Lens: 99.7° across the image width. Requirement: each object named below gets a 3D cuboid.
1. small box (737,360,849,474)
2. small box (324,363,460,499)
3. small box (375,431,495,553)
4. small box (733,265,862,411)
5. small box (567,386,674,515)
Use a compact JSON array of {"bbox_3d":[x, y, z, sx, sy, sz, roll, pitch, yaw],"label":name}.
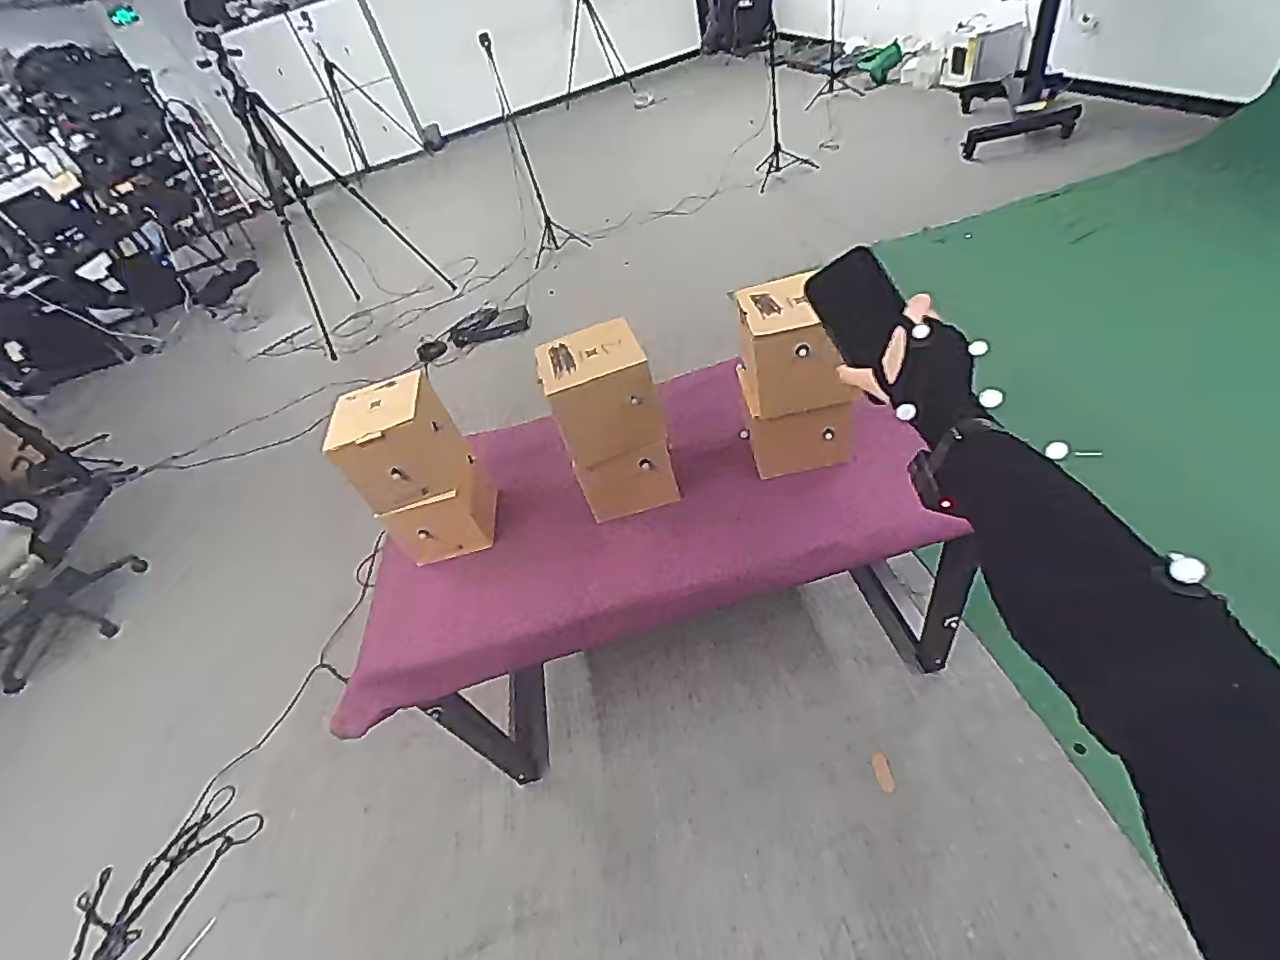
[{"bbox_3d":[0.295,-0.135,1.057,0.179,0.176,0.168,-11,44,9],"label":"small box"},{"bbox_3d":[-0.453,-0.085,1.018,0.168,0.176,0.179,-18,45,0],"label":"small box"},{"bbox_3d":[-0.414,0.033,1.127,0.168,0.176,0.179,-15,44,4],"label":"small box"},{"bbox_3d":[0.267,-0.238,0.931,0.179,0.176,0.168,-11,44,7],"label":"small box"},{"bbox_3d":[-0.035,-0.056,1.087,0.179,0.176,0.168,-15,44,4],"label":"small box"}]
